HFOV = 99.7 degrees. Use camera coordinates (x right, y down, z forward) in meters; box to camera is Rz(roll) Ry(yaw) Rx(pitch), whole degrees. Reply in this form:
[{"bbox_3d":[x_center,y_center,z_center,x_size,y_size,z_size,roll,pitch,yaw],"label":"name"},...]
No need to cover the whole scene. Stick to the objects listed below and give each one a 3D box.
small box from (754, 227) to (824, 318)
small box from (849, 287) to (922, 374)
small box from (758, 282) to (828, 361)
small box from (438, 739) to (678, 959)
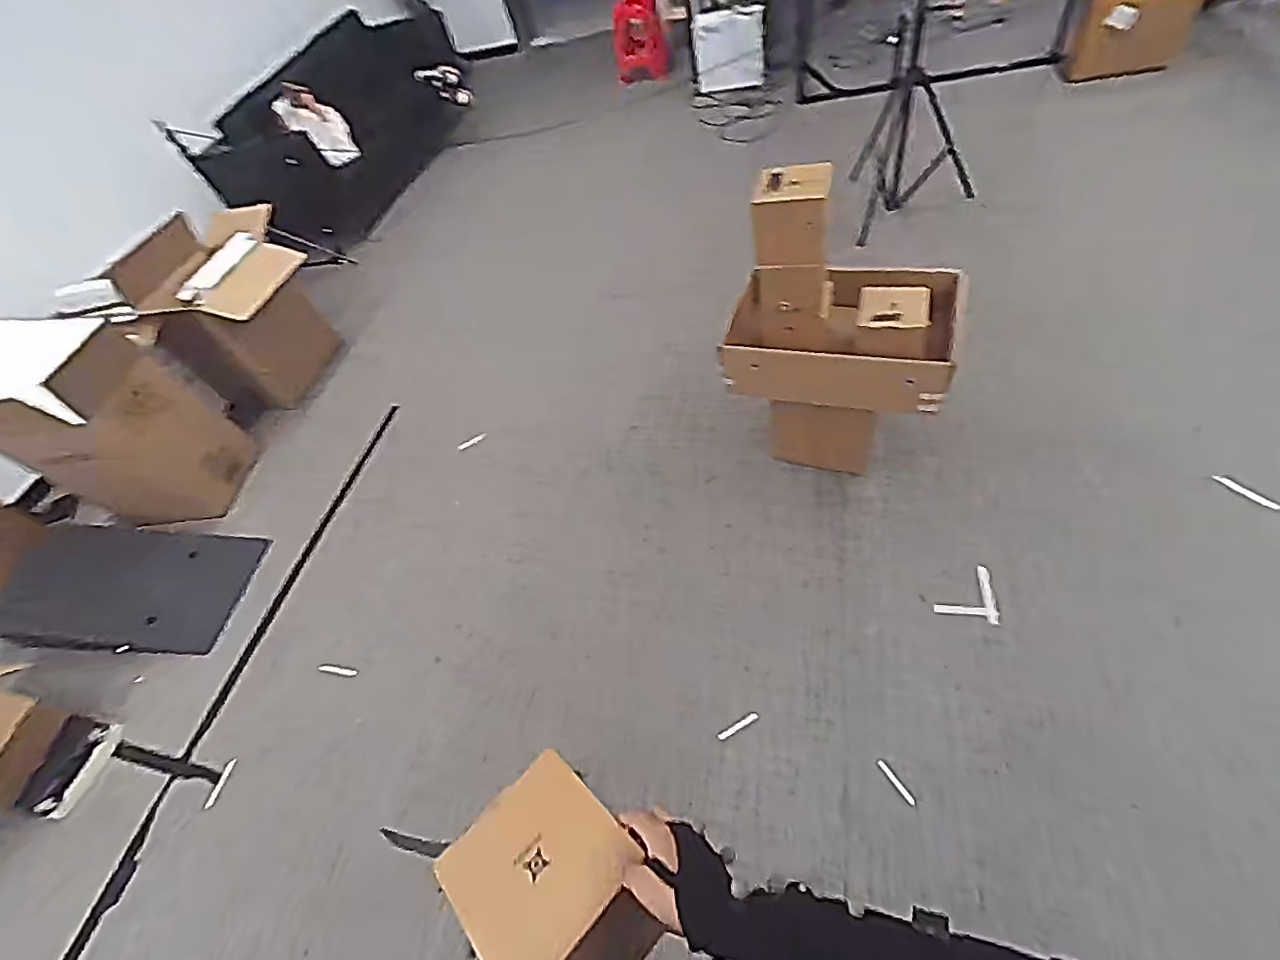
[{"bbox_3d":[0.413,-0.571,1.497,0.168,0.176,0.179,5,55,20],"label":"small box"},{"bbox_3d":[0.684,-0.417,1.515,0.168,0.176,0.179,8,56,21],"label":"small box"},{"bbox_3d":[0.458,-0.474,1.621,0.179,0.176,0.168,8,57,20],"label":"small box"},{"bbox_3d":[-0.082,0.438,0.596,0.168,0.176,0.179,-38,39,-26],"label":"small box"}]
